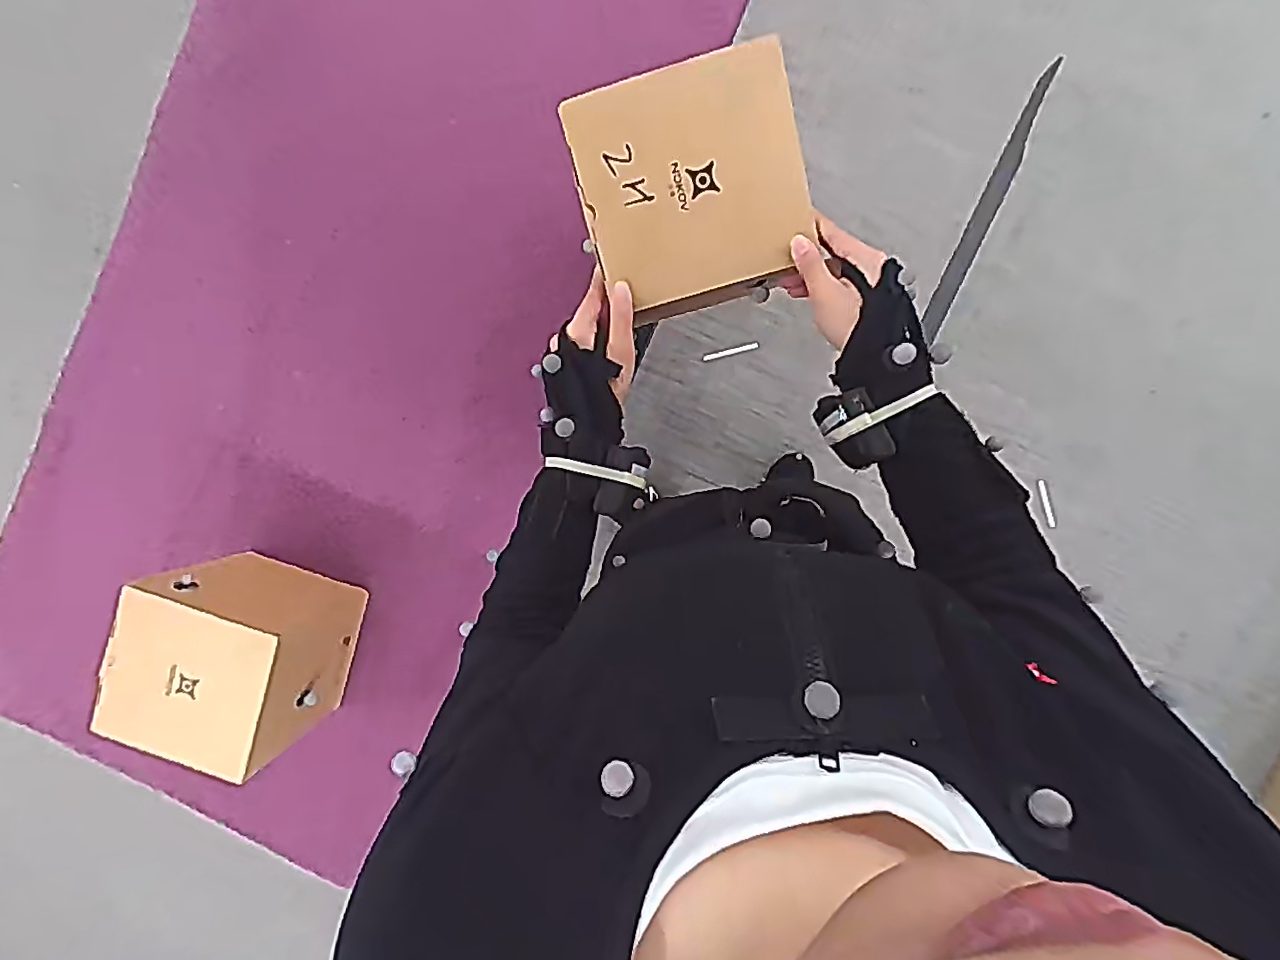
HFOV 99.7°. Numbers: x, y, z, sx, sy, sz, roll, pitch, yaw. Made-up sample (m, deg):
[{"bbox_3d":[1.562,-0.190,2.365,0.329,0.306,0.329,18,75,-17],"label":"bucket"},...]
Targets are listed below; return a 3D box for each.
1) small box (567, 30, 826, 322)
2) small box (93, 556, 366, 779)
[{"bbox_3d":[0.047,-0.252,0.498,0.179,0.176,0.168,-14,101,5],"label":"small box"},{"bbox_3d":[-0.456,0.200,0.629,0.179,0.176,0.168,17,95,4],"label":"small box"}]
